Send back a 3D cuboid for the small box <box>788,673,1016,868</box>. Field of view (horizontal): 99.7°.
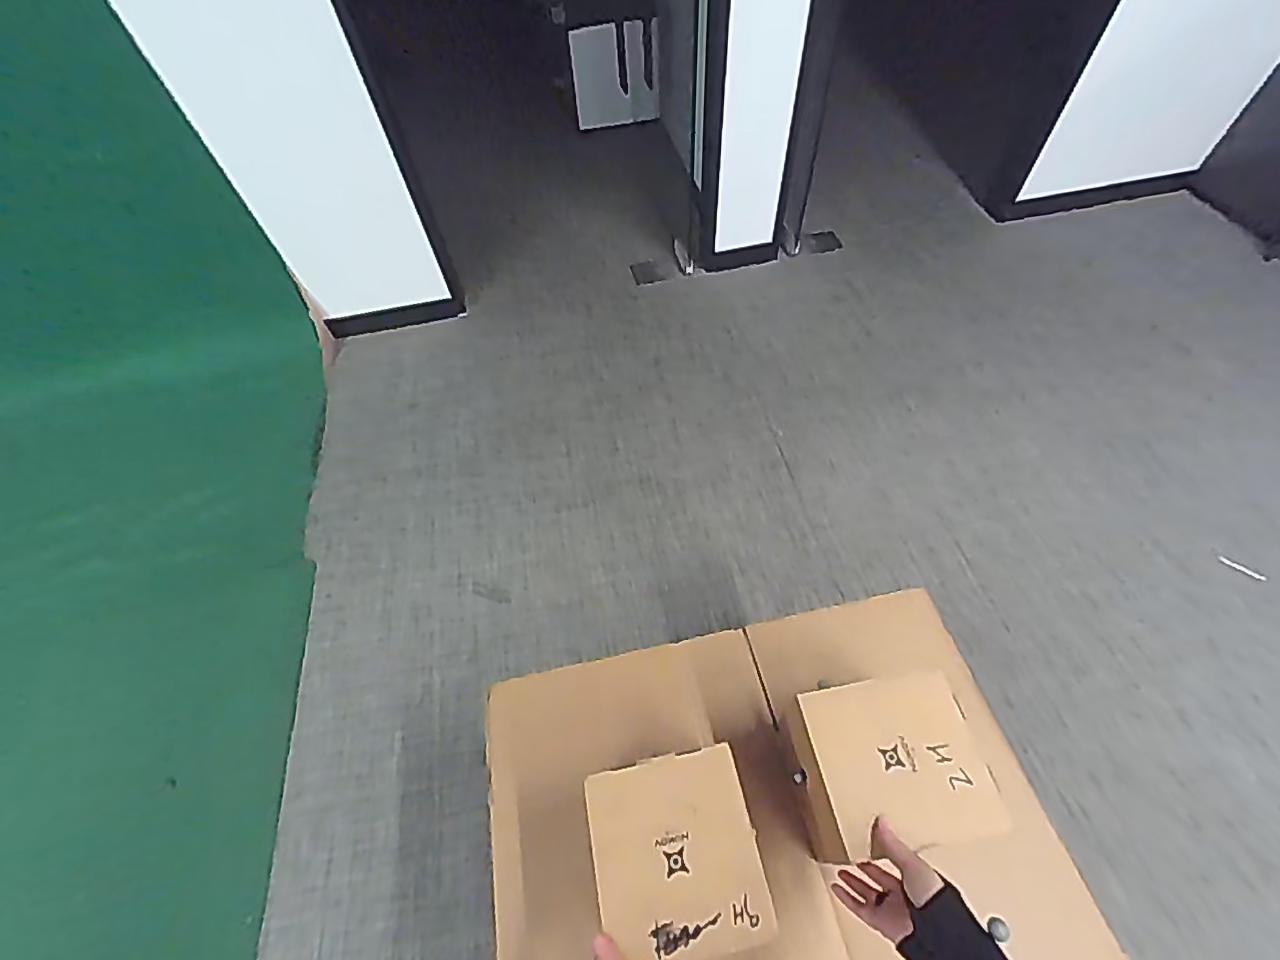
[{"bbox_3d":[0.284,0.349,0.642,0.179,0.176,0.168,-10,55,-1],"label":"small box"}]

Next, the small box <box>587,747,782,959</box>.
[{"bbox_3d":[0.043,0.425,0.605,0.168,0.176,0.179,-13,54,-2],"label":"small box"}]
